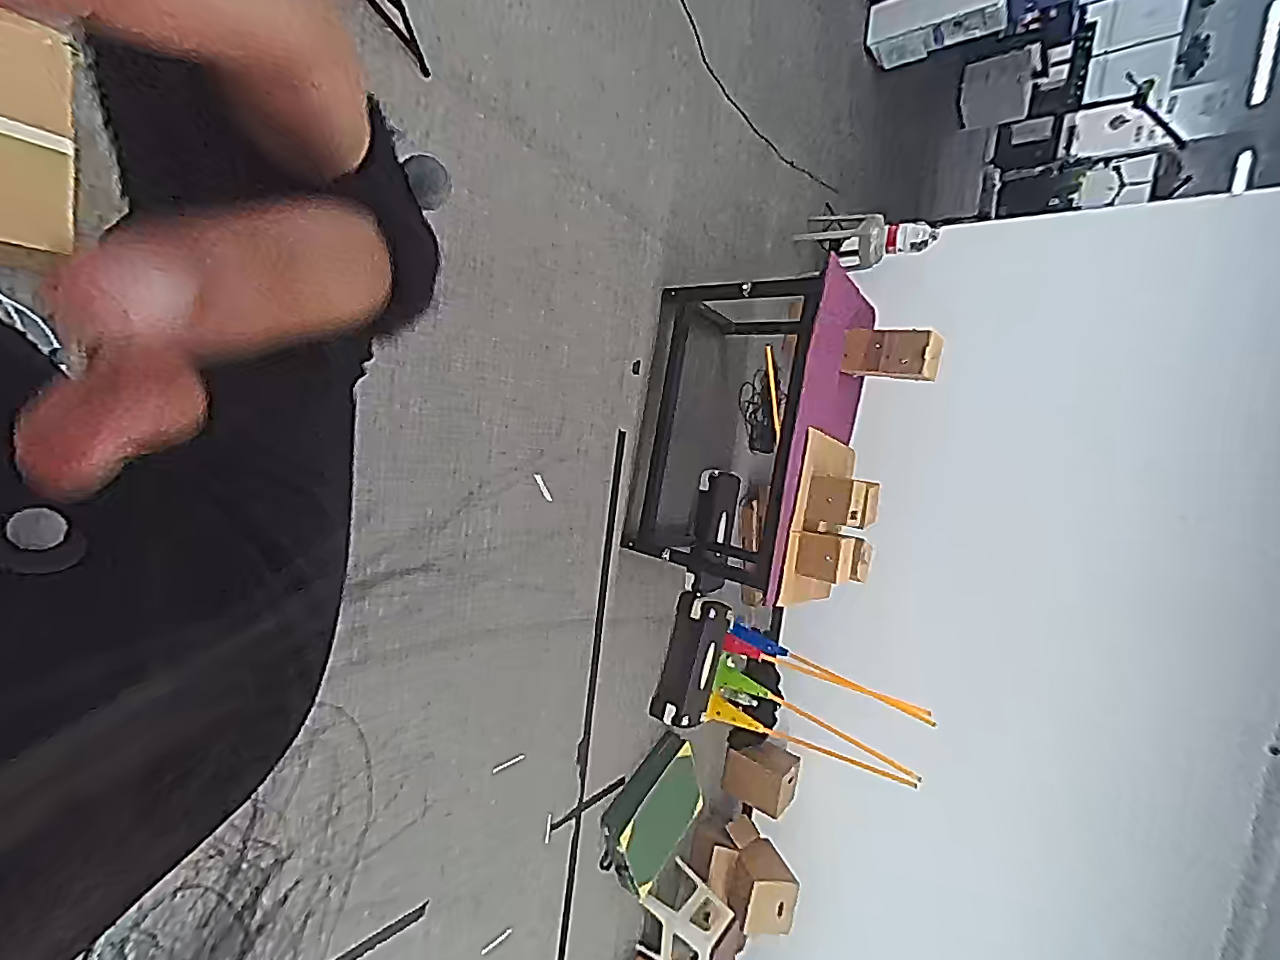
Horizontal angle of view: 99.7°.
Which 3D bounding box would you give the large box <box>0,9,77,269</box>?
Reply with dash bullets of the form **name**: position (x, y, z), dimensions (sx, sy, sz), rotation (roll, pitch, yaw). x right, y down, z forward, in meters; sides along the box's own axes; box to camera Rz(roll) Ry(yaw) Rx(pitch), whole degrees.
- **large box**: position (-1.087, -0.512, 0.741), dimensions (0.408, 0.320, 0.320), rotation (-1, 100, -53)
